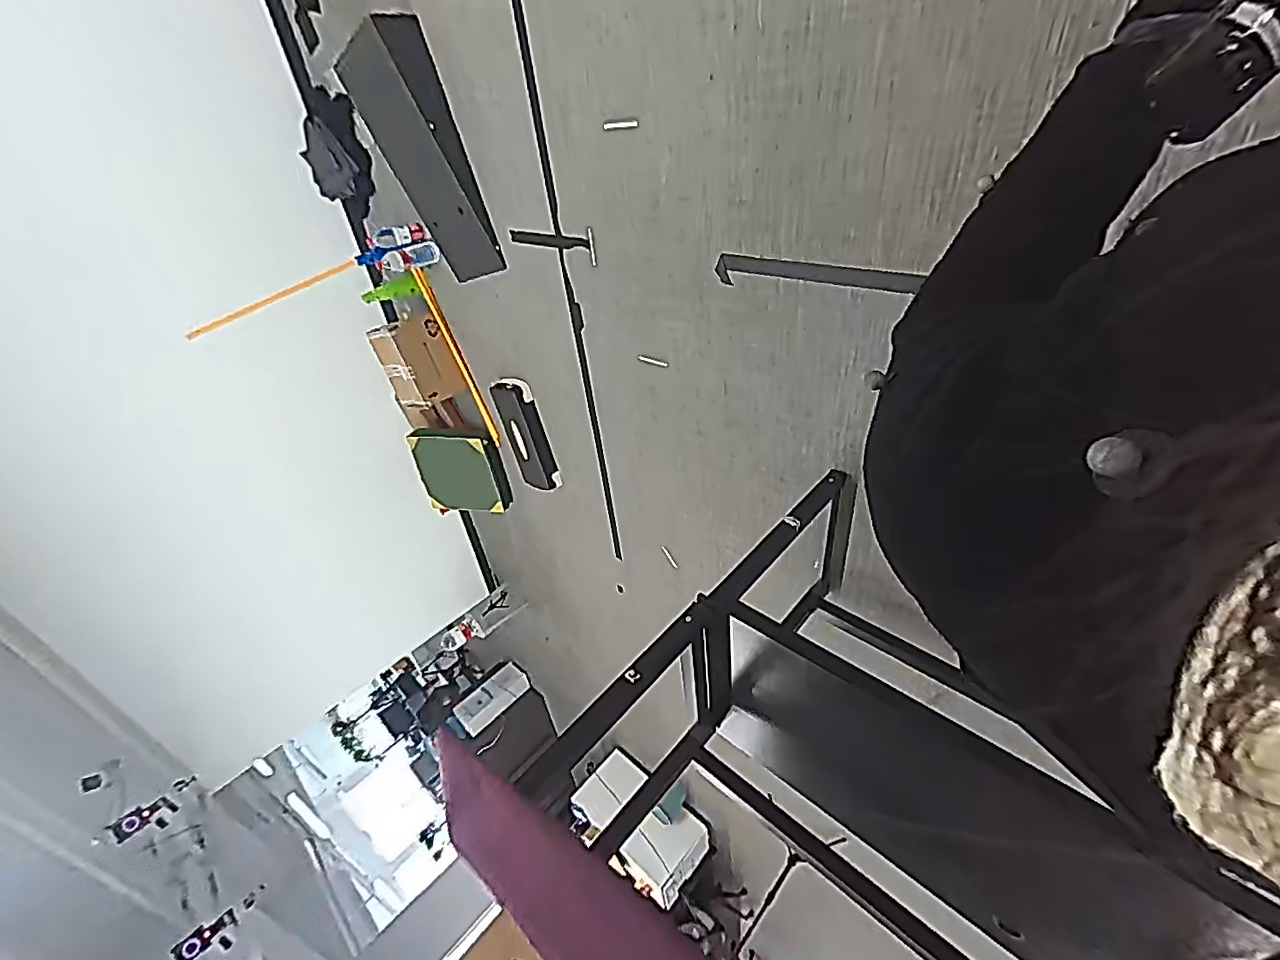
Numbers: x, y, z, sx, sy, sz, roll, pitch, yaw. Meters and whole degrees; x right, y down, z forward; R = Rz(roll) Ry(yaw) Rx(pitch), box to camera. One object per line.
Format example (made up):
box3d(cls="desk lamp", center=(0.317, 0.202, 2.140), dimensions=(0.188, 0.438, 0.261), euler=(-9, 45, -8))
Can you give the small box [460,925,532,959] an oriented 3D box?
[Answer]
box3d(cls="small box", center=(-0.245, 0.925, 0.936), dimensions=(0.179, 0.176, 0.168), euler=(24, 136, 38))
